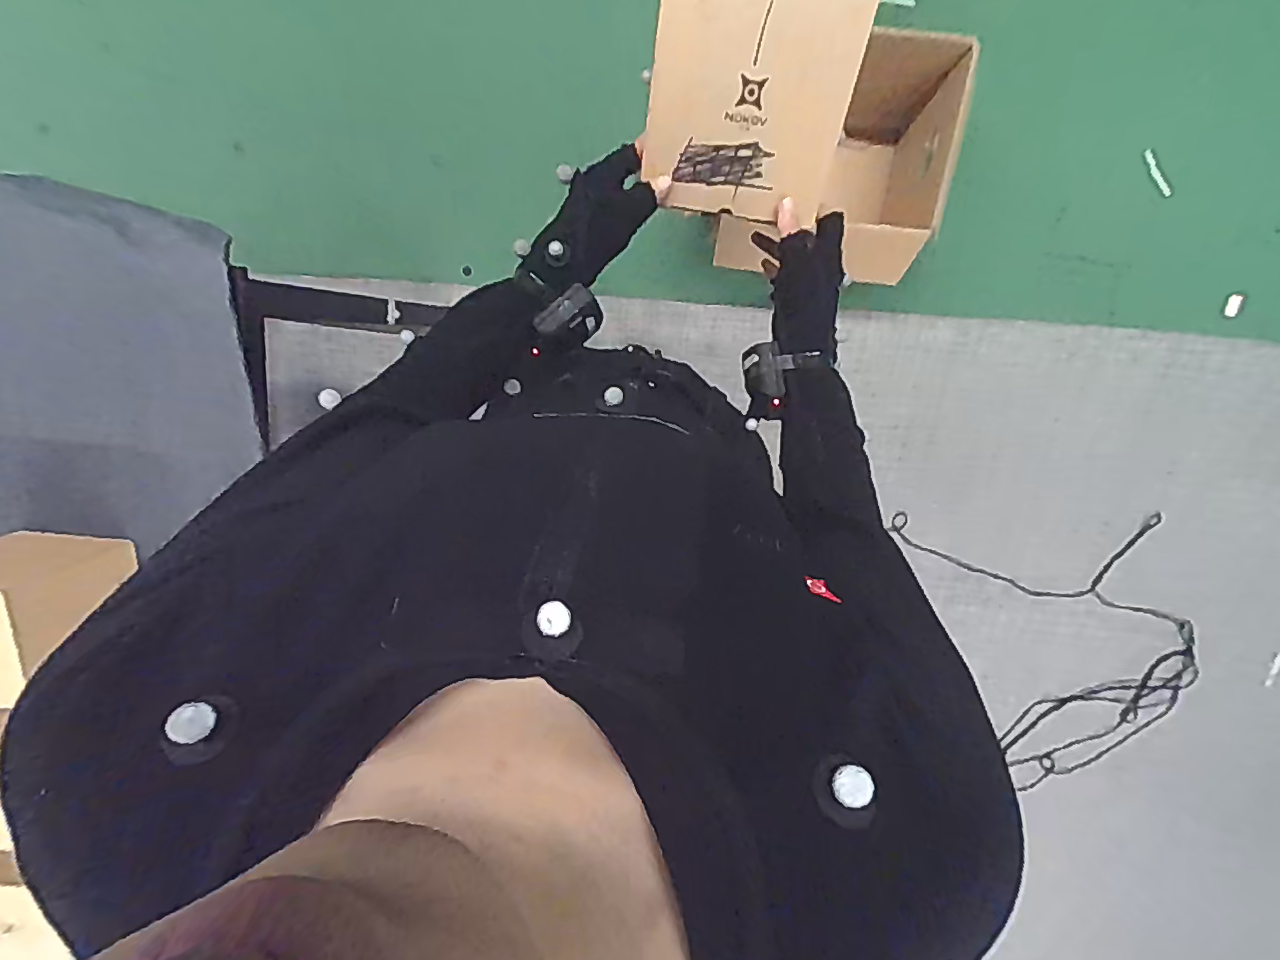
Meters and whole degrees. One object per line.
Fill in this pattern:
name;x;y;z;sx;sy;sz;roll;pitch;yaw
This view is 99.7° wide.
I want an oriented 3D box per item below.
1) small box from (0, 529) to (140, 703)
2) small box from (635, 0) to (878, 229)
small box;-0.832;0.173;0.731;0.179;0.176;0.168;4;105;2
small box;0.094;-0.361;0.512;0.168;0.176;0.179;9;125;-1
